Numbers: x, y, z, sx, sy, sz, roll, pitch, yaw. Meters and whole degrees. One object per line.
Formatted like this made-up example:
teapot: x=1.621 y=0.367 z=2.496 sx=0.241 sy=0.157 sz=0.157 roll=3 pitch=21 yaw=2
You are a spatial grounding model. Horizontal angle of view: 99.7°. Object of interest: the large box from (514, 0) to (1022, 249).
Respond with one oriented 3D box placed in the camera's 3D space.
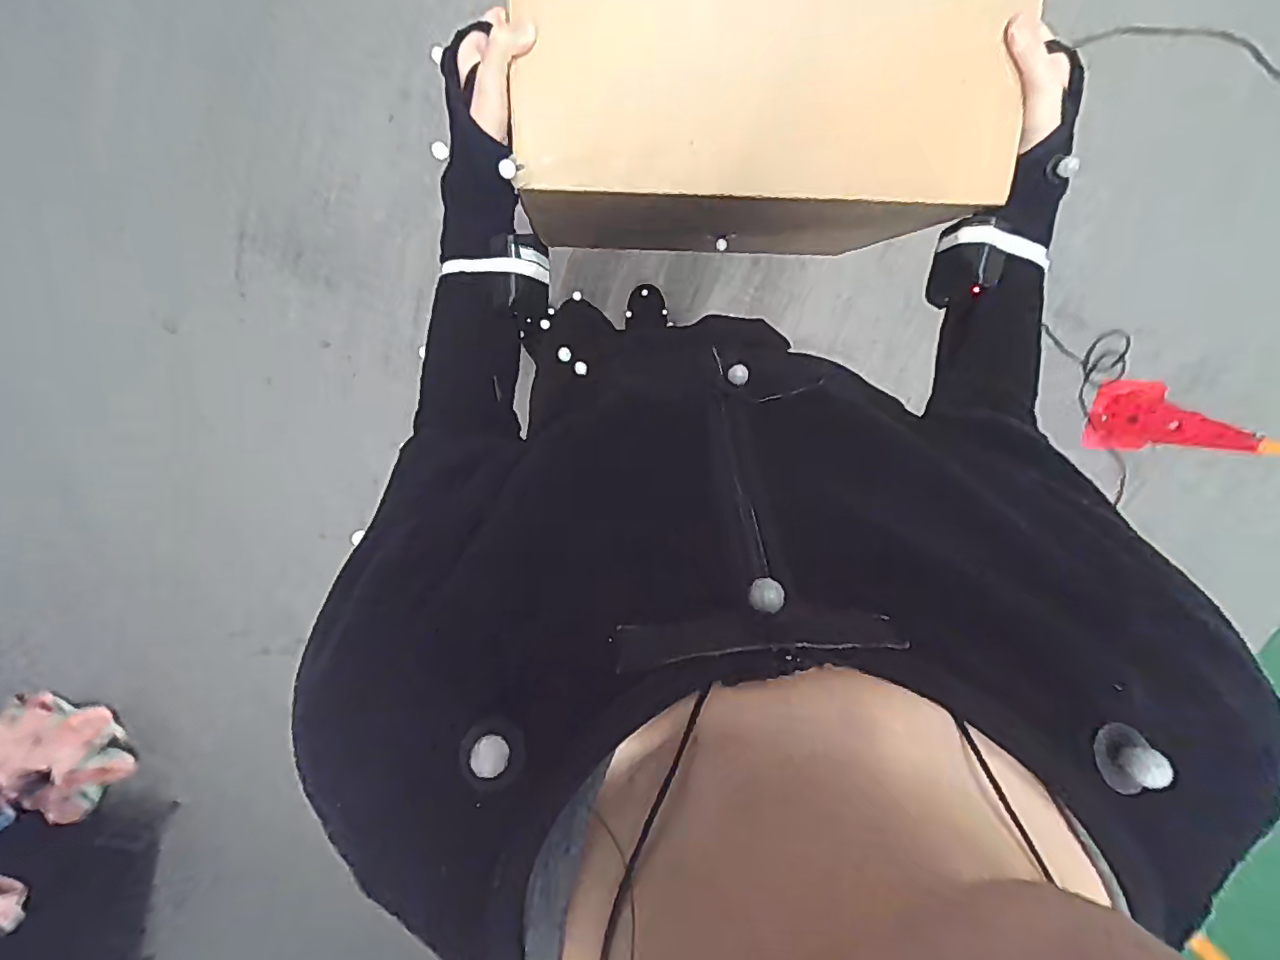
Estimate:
large box: x=0.093 y=-0.418 z=0.549 sx=0.408 sy=0.320 sz=0.320 roll=-1 pitch=105 yaw=-5
